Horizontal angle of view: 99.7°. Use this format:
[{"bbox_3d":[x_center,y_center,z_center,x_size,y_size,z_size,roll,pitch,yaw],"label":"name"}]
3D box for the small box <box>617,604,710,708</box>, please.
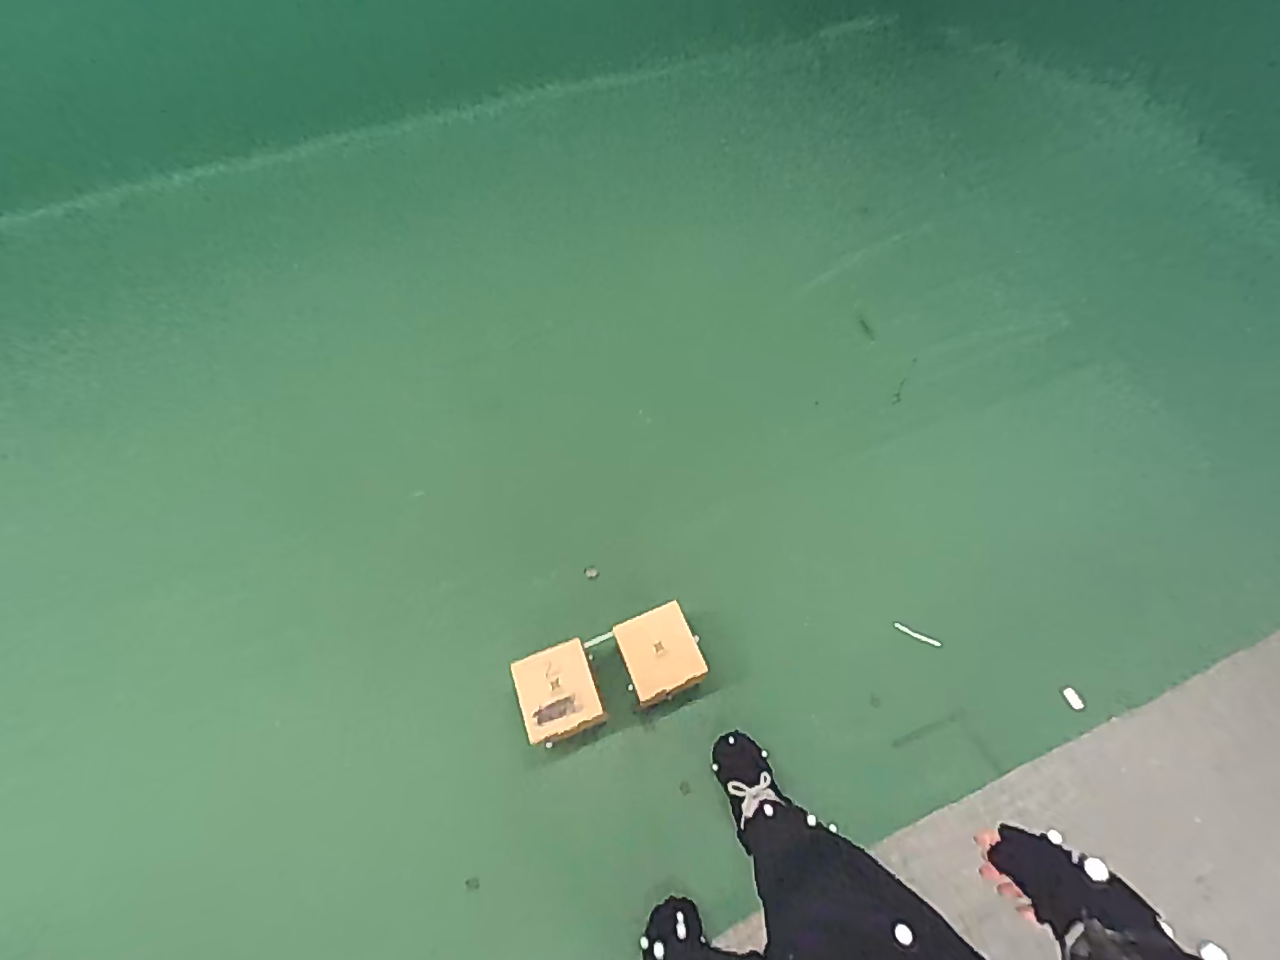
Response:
[{"bbox_3d":[0.050,0.426,1.293,0.168,0.176,0.179,-21,65,-10],"label":"small box"}]
